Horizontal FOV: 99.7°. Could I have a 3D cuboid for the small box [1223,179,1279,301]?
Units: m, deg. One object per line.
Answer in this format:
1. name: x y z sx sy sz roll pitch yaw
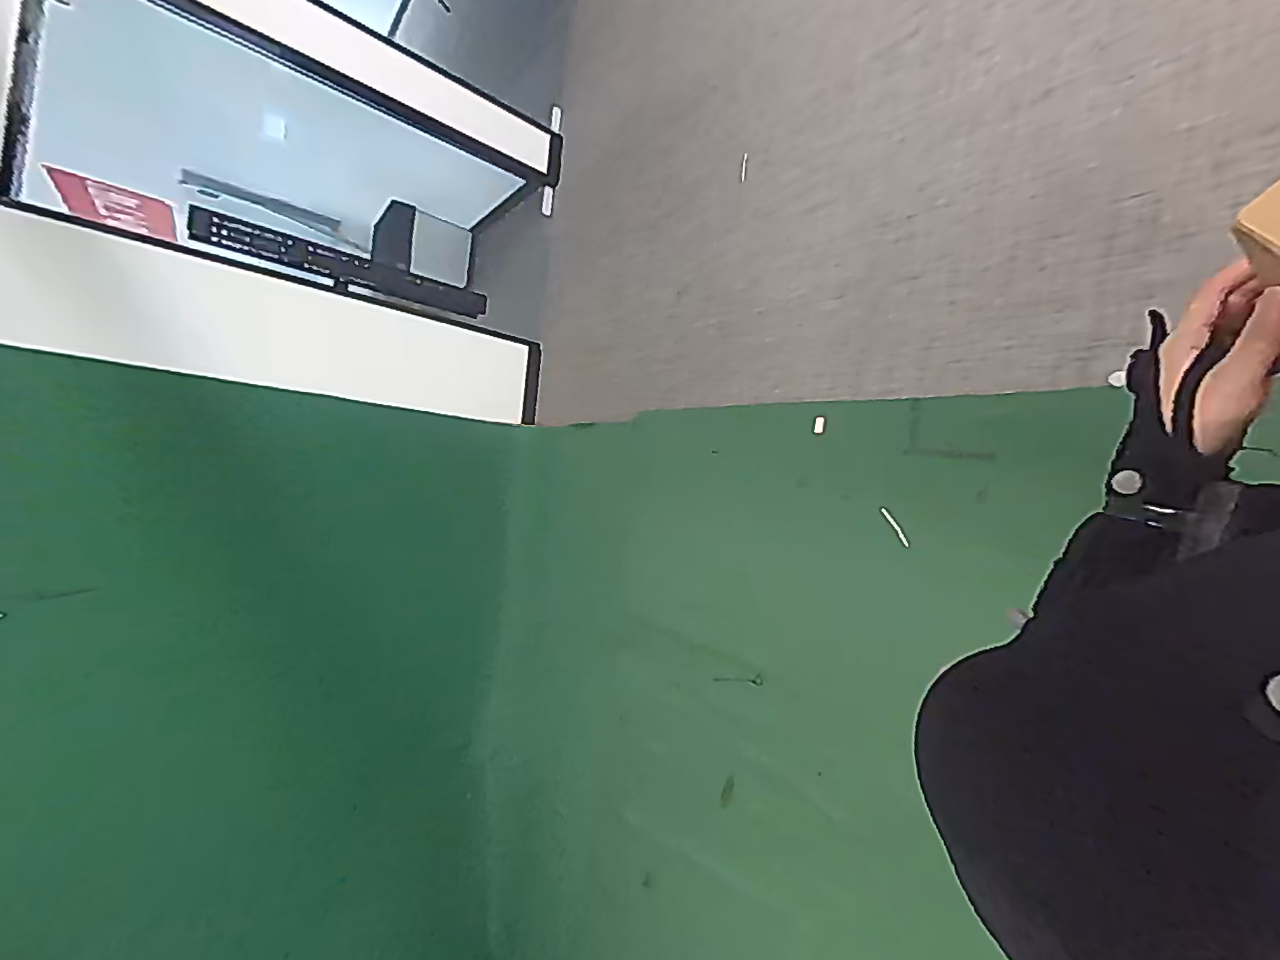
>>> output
1. small box: 0.438 -0.107 0.232 0.179 0.176 0.168 -49 42 39
